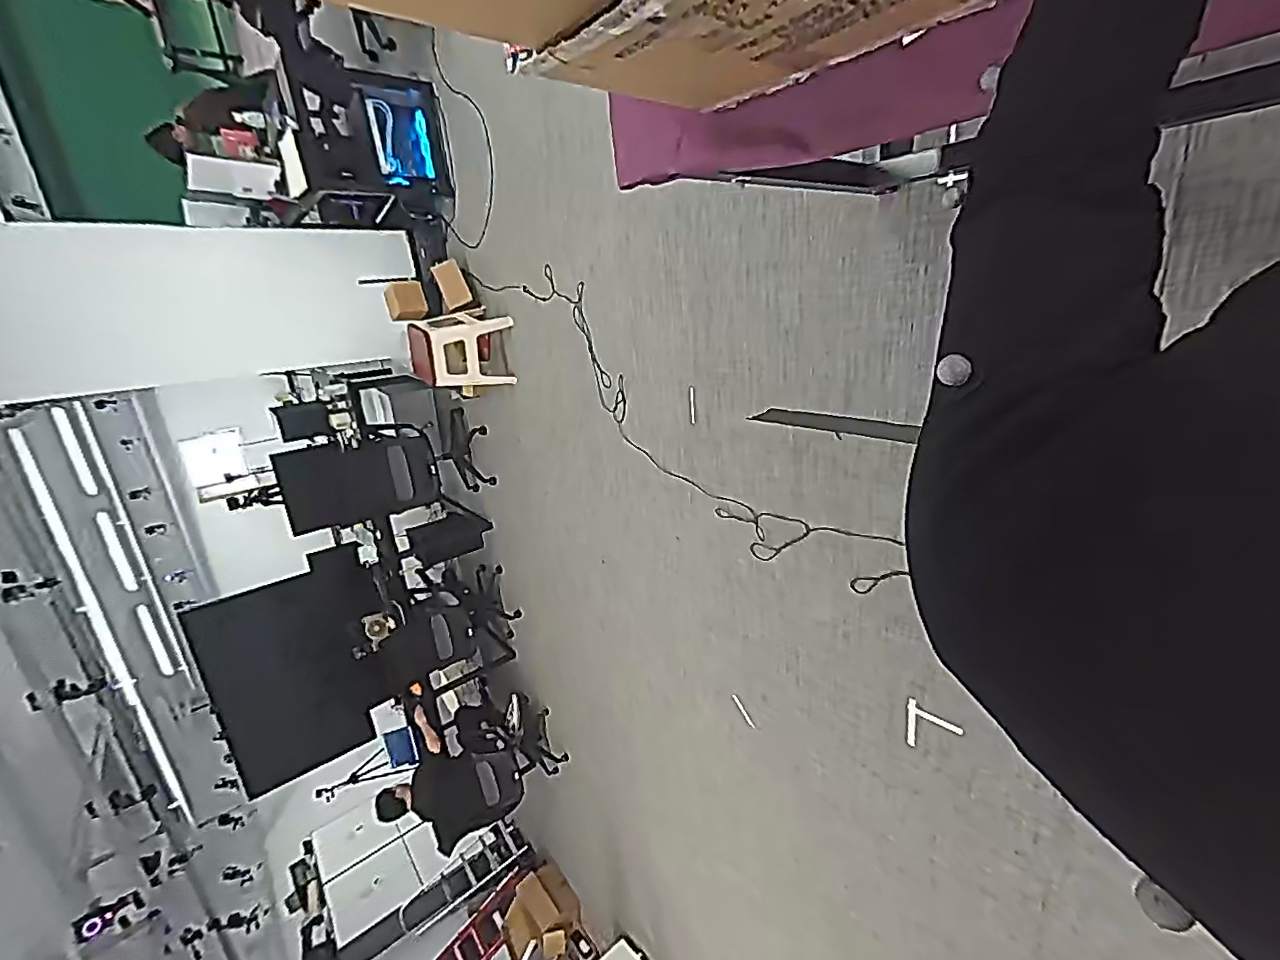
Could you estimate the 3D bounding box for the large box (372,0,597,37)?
[{"bbox_3d":[-0.139,-0.577,0.305,0.320,0.320,0.408,18,120,50],"label":"large box"}]
